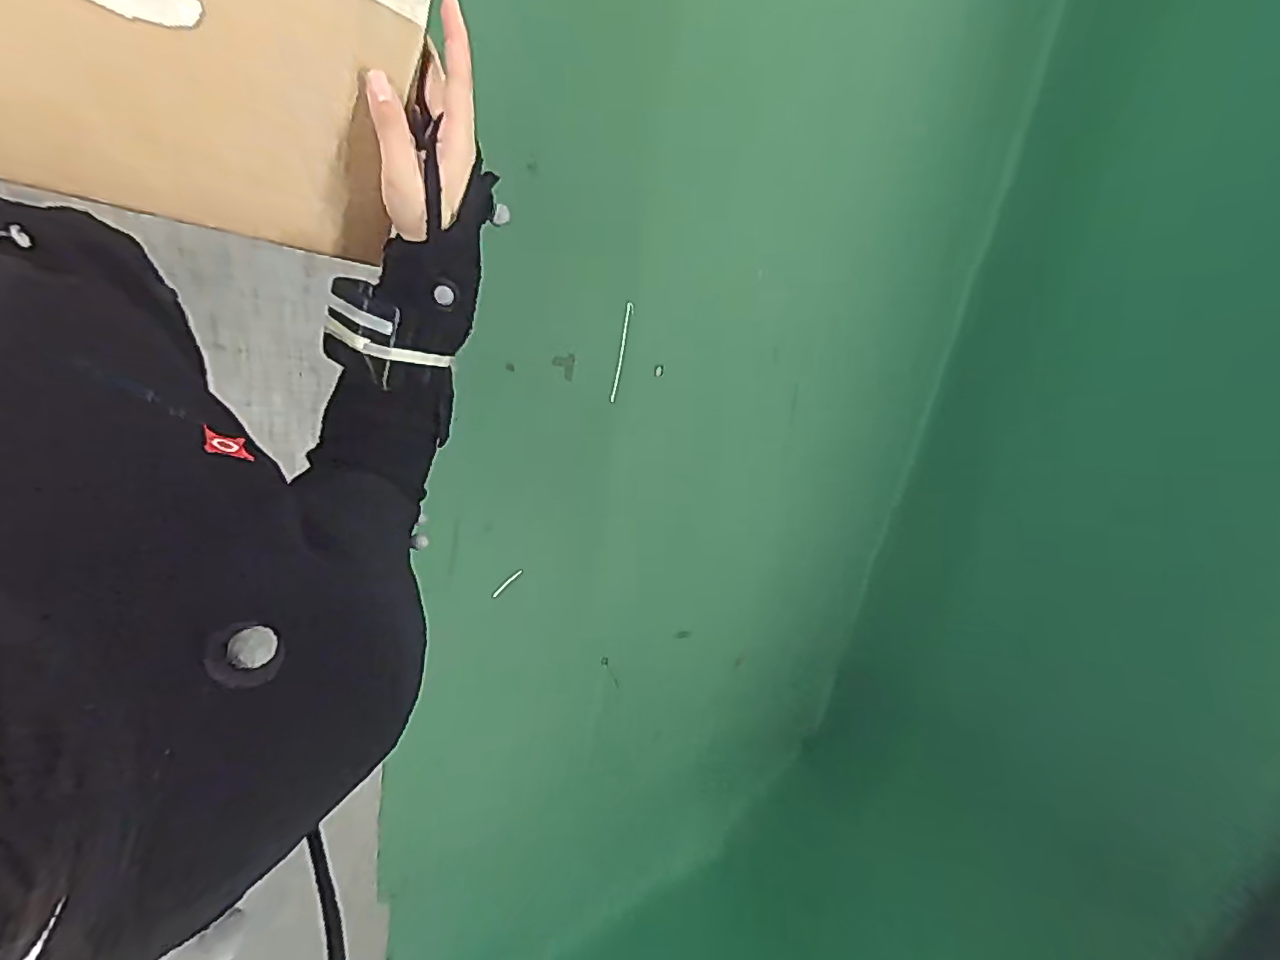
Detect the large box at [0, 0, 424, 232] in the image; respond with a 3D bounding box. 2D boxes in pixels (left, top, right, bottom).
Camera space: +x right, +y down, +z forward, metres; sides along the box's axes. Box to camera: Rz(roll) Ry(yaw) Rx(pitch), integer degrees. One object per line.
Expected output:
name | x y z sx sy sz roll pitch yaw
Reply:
large box | -0.362 -0.372 0.271 0.408 0.320 0.320 -5 127 -46
